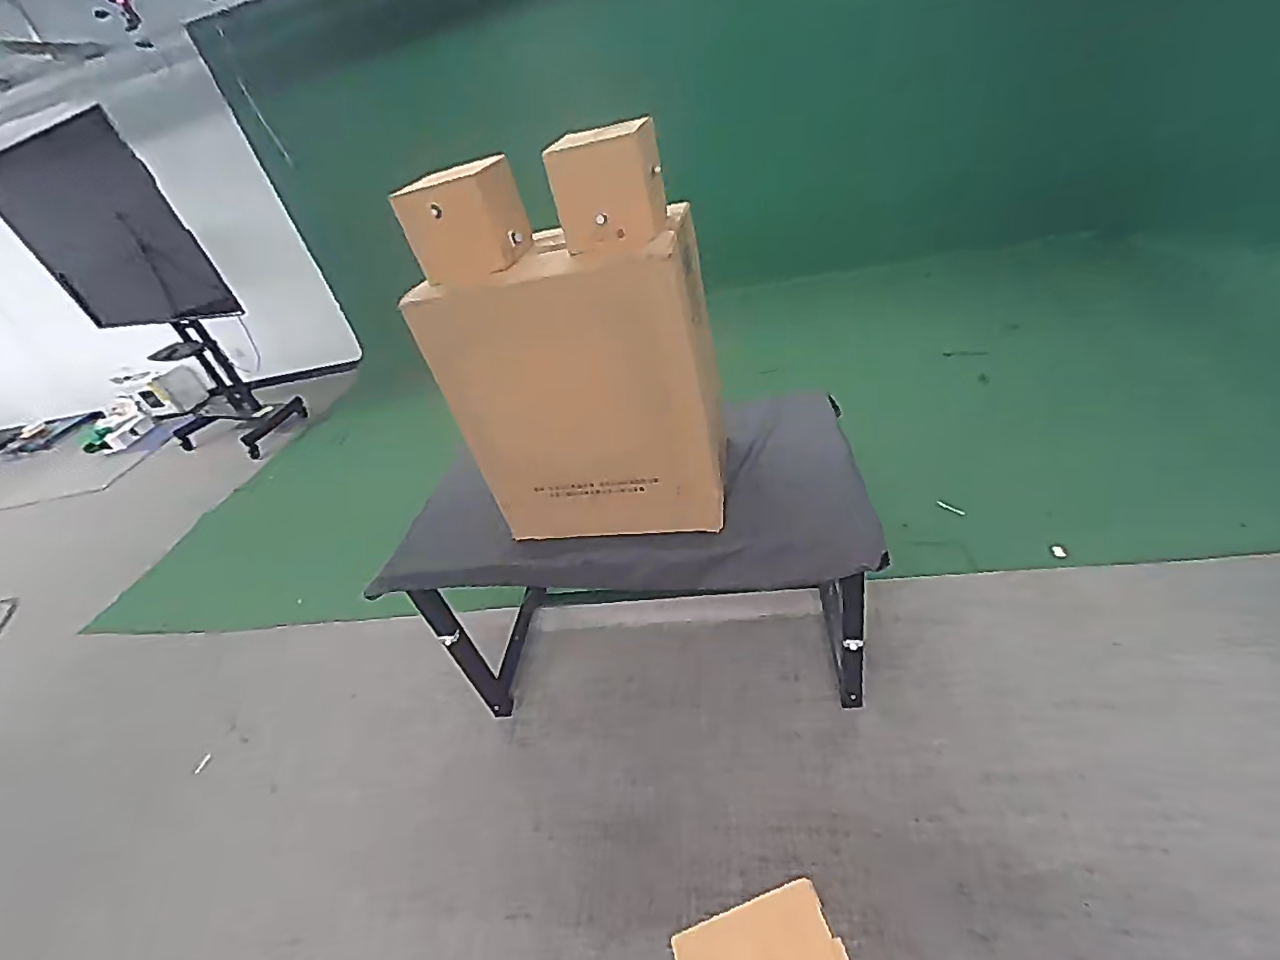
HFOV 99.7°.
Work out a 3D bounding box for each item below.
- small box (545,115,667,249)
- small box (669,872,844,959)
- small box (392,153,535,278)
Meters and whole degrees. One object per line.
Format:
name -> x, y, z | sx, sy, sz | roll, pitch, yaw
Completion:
small box -> -0.050, -0.536, 0.977 | 0.168, 0.176, 0.179 | -3, 40, 14
small box -> 0.153, 0.589, 0.600 | 0.179, 0.176, 0.168 | -22, 30, -2
small box -> -0.329, -0.504, 1.042 | 0.179, 0.176, 0.168 | -3, 41, 15
